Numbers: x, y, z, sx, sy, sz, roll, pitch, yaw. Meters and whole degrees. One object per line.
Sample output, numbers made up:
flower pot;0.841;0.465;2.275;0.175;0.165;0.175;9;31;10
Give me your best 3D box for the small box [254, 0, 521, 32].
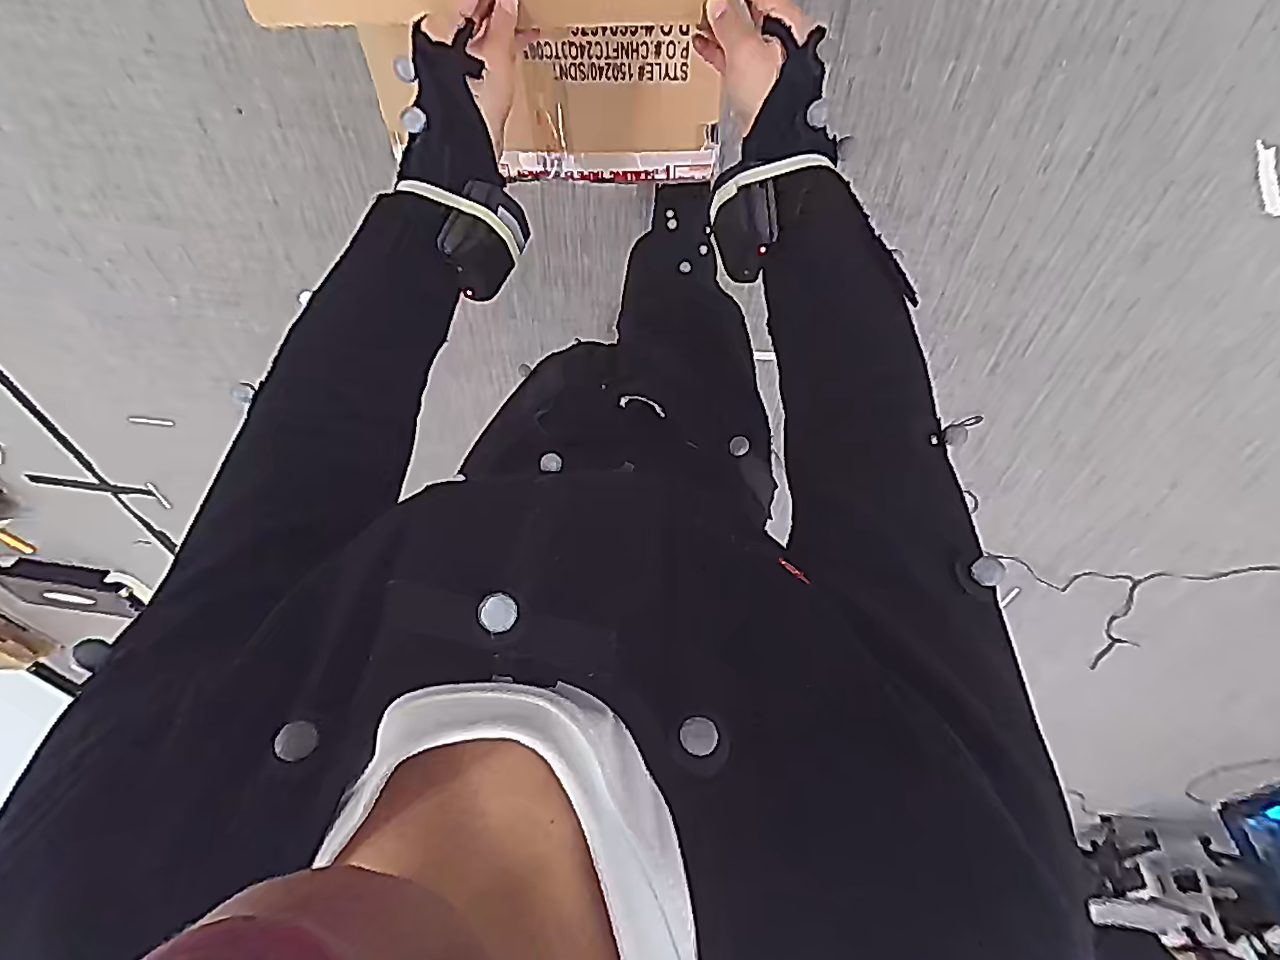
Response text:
small box;-0.211;-0.472;0.427;0.179;0.176;0.168;6;137;8
